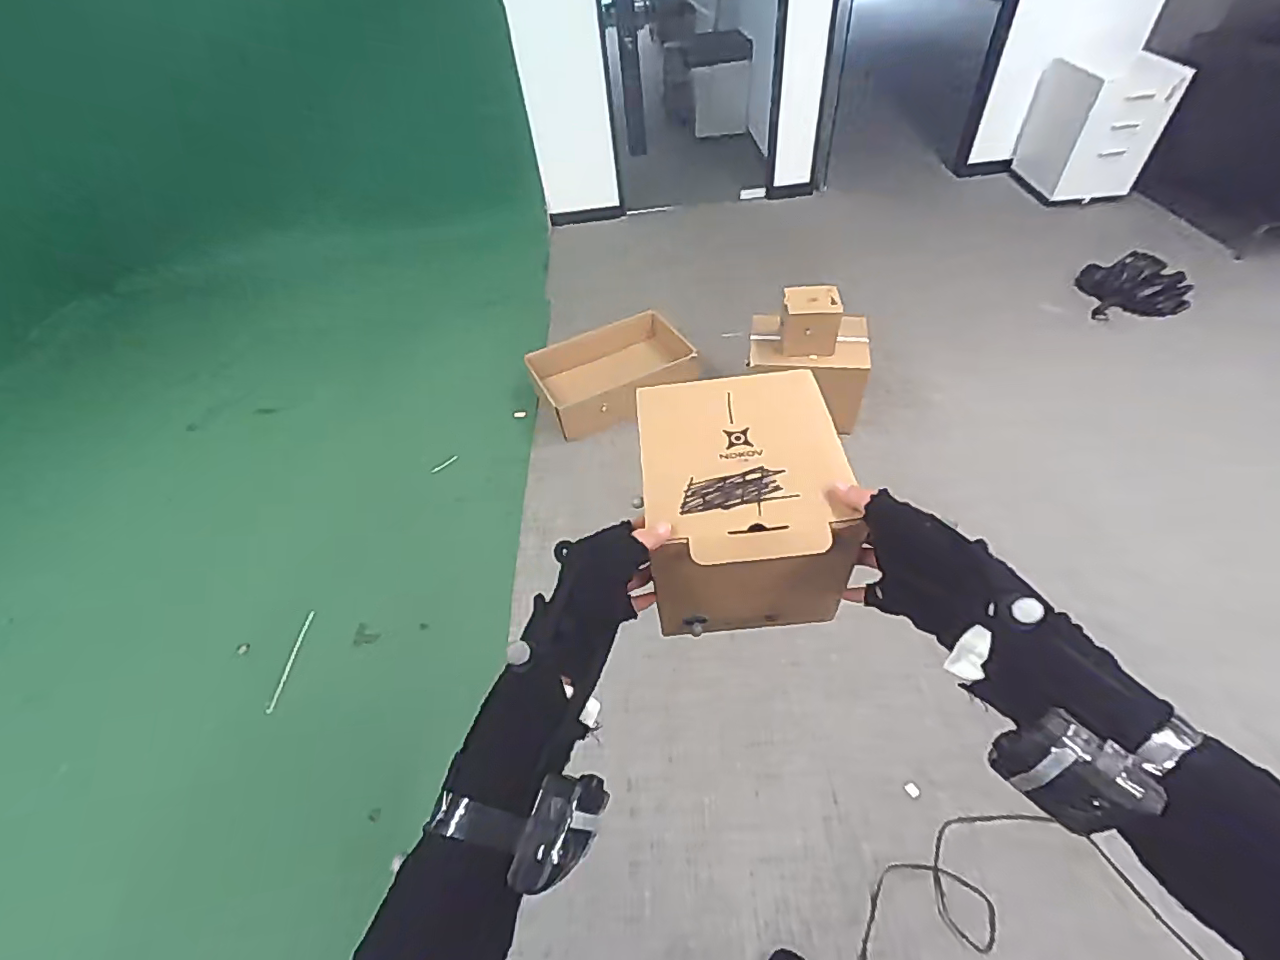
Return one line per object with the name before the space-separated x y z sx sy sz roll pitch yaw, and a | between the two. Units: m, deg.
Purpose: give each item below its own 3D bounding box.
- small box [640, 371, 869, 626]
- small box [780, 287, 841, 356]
small box | 0.094 0.025 0.511 0.168 0.176 0.179 -6 49 3
small box | 0.576 -0.538 1.851 0.179 0.176 0.168 0 49 8
